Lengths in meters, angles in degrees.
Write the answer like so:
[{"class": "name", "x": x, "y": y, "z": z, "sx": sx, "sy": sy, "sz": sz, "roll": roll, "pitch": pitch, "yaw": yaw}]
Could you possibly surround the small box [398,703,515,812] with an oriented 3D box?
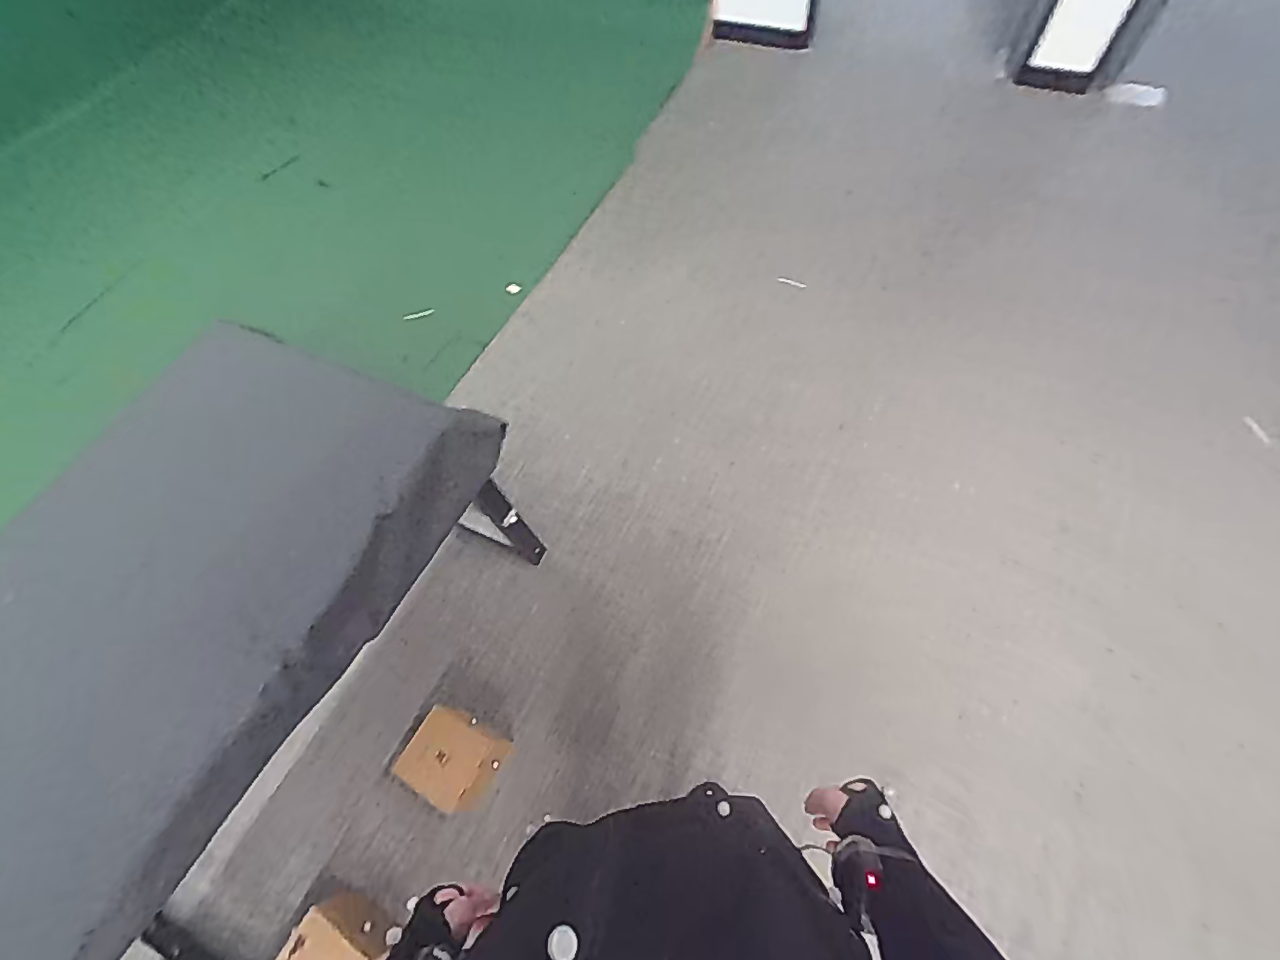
[{"class": "small box", "x": -0.431, "y": 0.664, "z": 1.302, "sx": 0.179, "sy": 0.176, "sz": 0.168, "roll": 24, "pitch": 67, "yaw": 19}]
